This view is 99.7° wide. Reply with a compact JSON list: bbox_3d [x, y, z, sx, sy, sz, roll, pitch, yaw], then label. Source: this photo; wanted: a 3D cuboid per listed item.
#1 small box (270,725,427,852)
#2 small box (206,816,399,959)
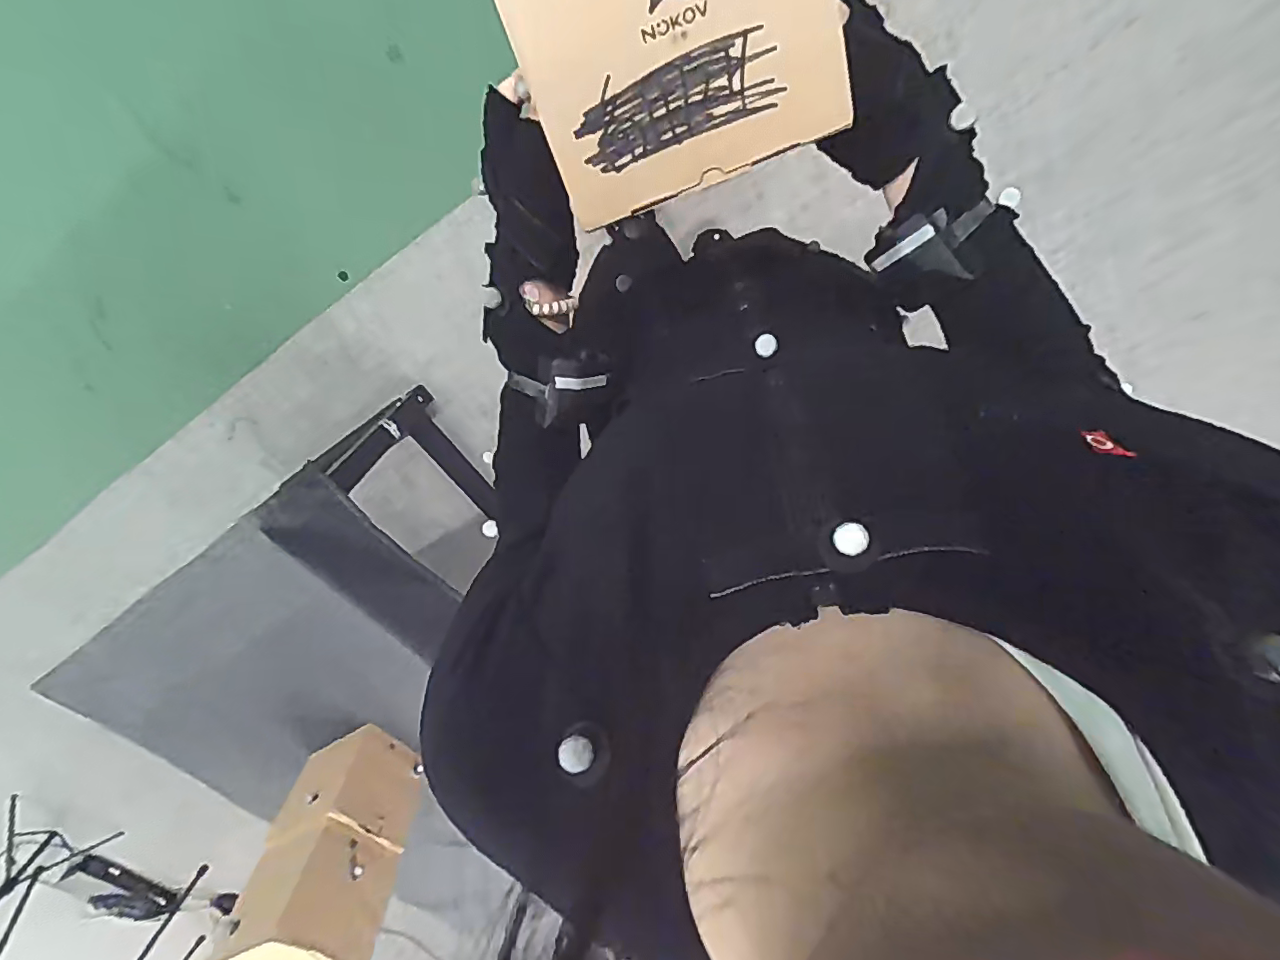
[{"bbox_3d":[-0.528,0.594,1.014,0.179,0.176,0.168,-30,115,16],"label":"small box"},{"bbox_3d":[-0.531,0.691,0.880,0.179,0.176,0.168,-33,115,15],"label":"small box"}]
